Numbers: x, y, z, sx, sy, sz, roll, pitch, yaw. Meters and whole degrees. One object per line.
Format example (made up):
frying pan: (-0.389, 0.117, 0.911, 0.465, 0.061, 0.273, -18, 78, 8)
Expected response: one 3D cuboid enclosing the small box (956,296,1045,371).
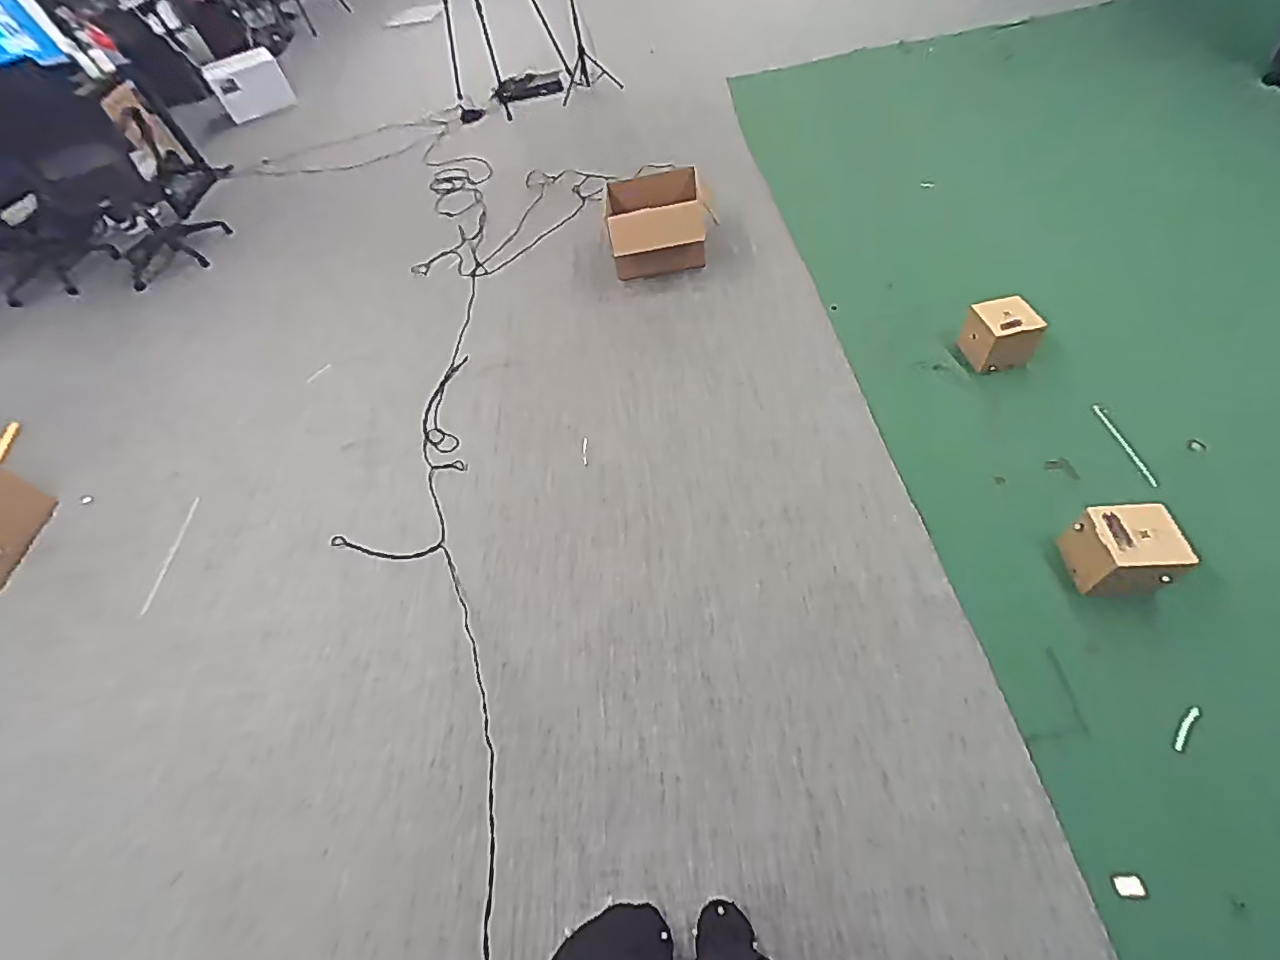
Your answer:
small box: (1.214, -0.489, 1.834, 0.168, 0.176, 0.179, -11, 52, 3)
